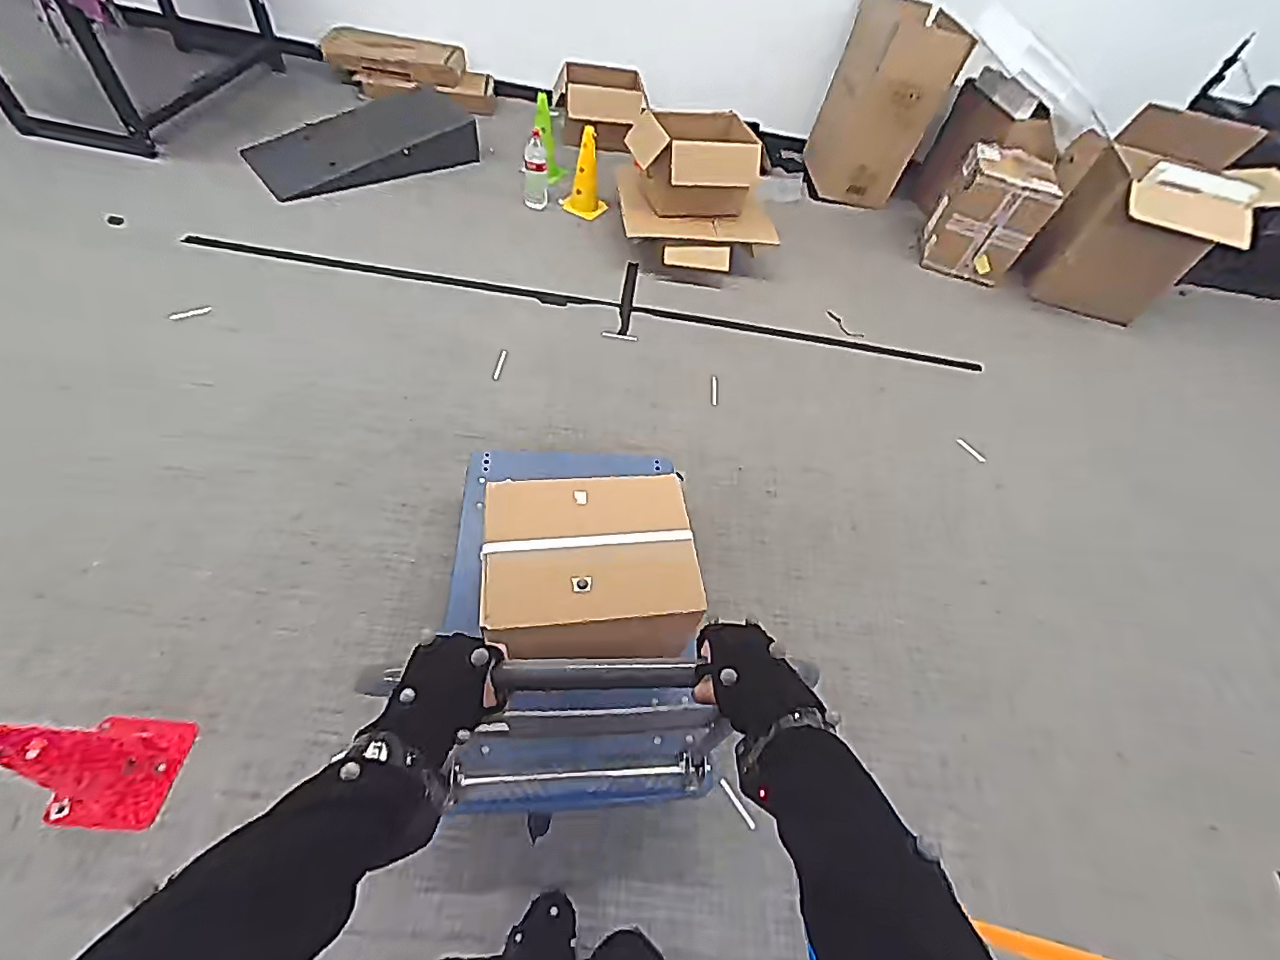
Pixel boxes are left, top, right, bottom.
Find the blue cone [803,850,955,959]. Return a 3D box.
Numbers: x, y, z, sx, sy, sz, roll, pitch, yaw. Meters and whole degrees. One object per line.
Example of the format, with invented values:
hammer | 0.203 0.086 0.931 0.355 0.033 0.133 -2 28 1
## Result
blue cone | 0.479 0.815 1.033 0.193 0.380 0.192 5 53 -7
